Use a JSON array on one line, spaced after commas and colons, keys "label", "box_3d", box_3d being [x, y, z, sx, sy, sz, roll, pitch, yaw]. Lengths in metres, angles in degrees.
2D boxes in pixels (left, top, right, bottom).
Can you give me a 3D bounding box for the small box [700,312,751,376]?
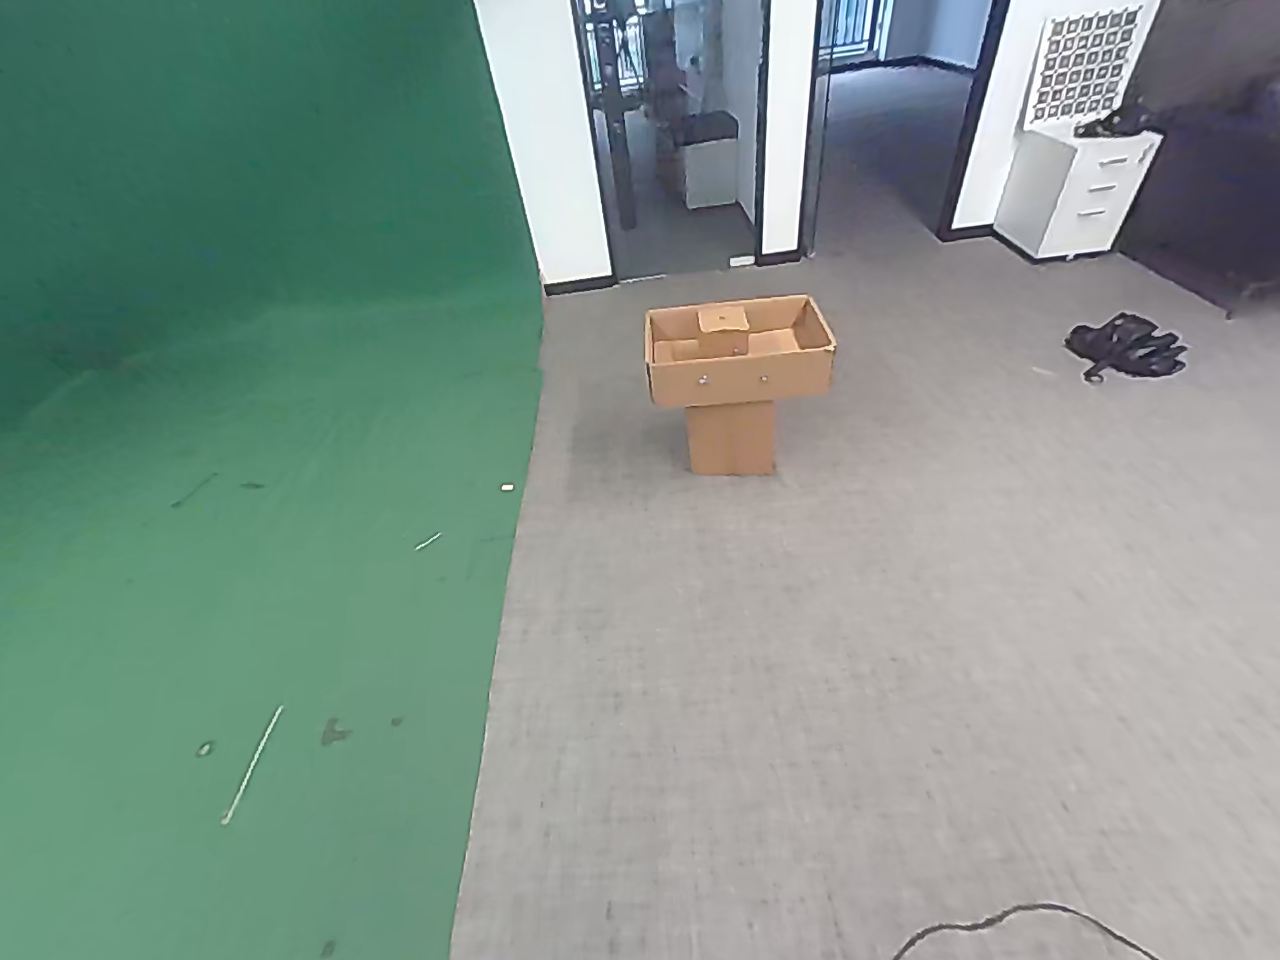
[{"label": "small box", "box_3d": [0.306, -0.483, 1.945, 0.168, 0.176, 0.179, -3, 40, 3]}]
